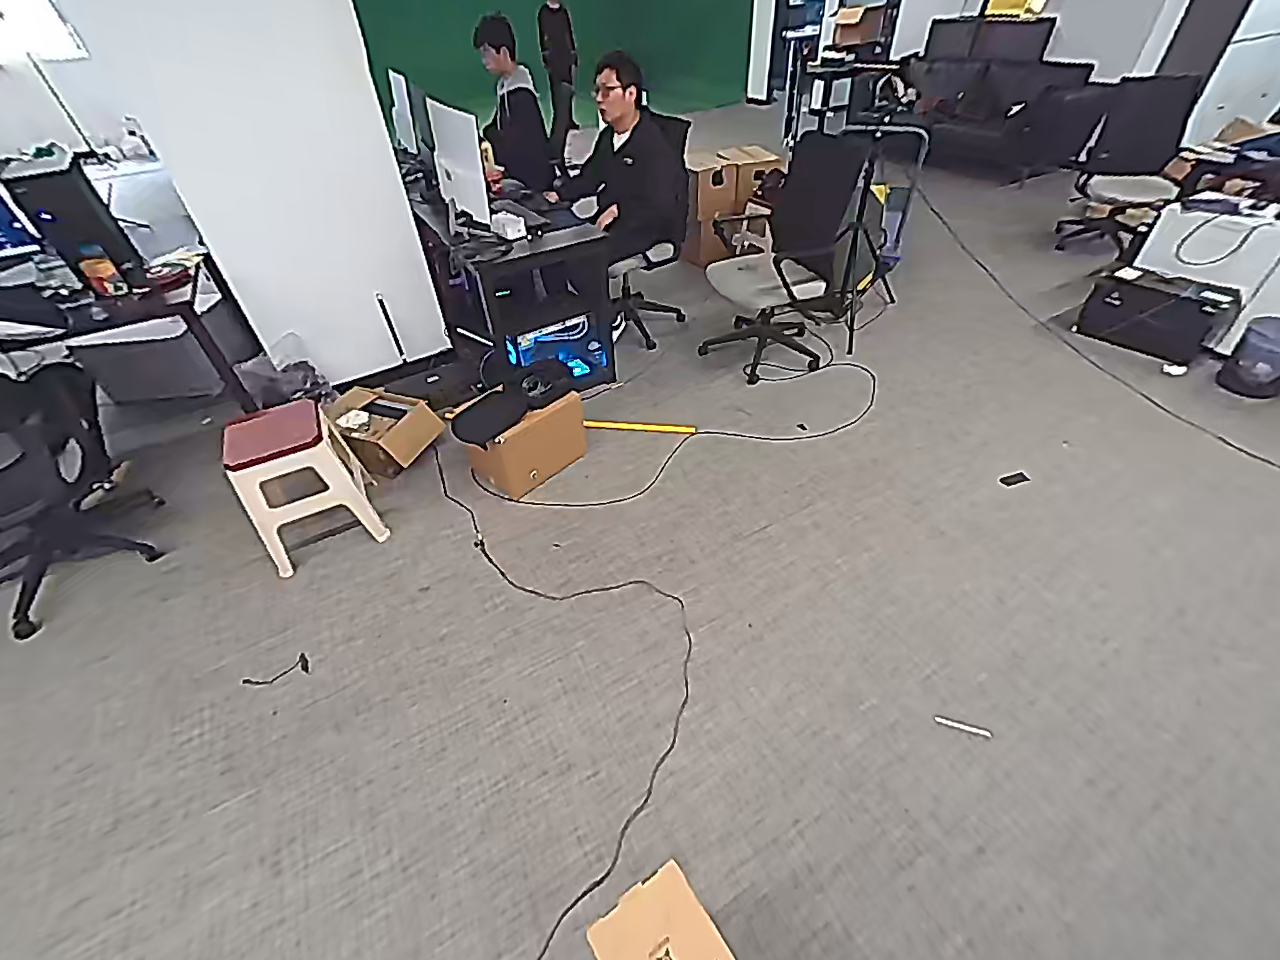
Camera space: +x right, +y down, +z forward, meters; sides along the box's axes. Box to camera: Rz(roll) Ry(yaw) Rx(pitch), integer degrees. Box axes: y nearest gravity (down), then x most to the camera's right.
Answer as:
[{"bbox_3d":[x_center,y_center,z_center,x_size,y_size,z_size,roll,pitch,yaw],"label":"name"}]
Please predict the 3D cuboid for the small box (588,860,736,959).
[{"bbox_3d":[0.038,0.742,0.832,0.168,0.176,0.179,-26,47,-23],"label":"small box"}]
